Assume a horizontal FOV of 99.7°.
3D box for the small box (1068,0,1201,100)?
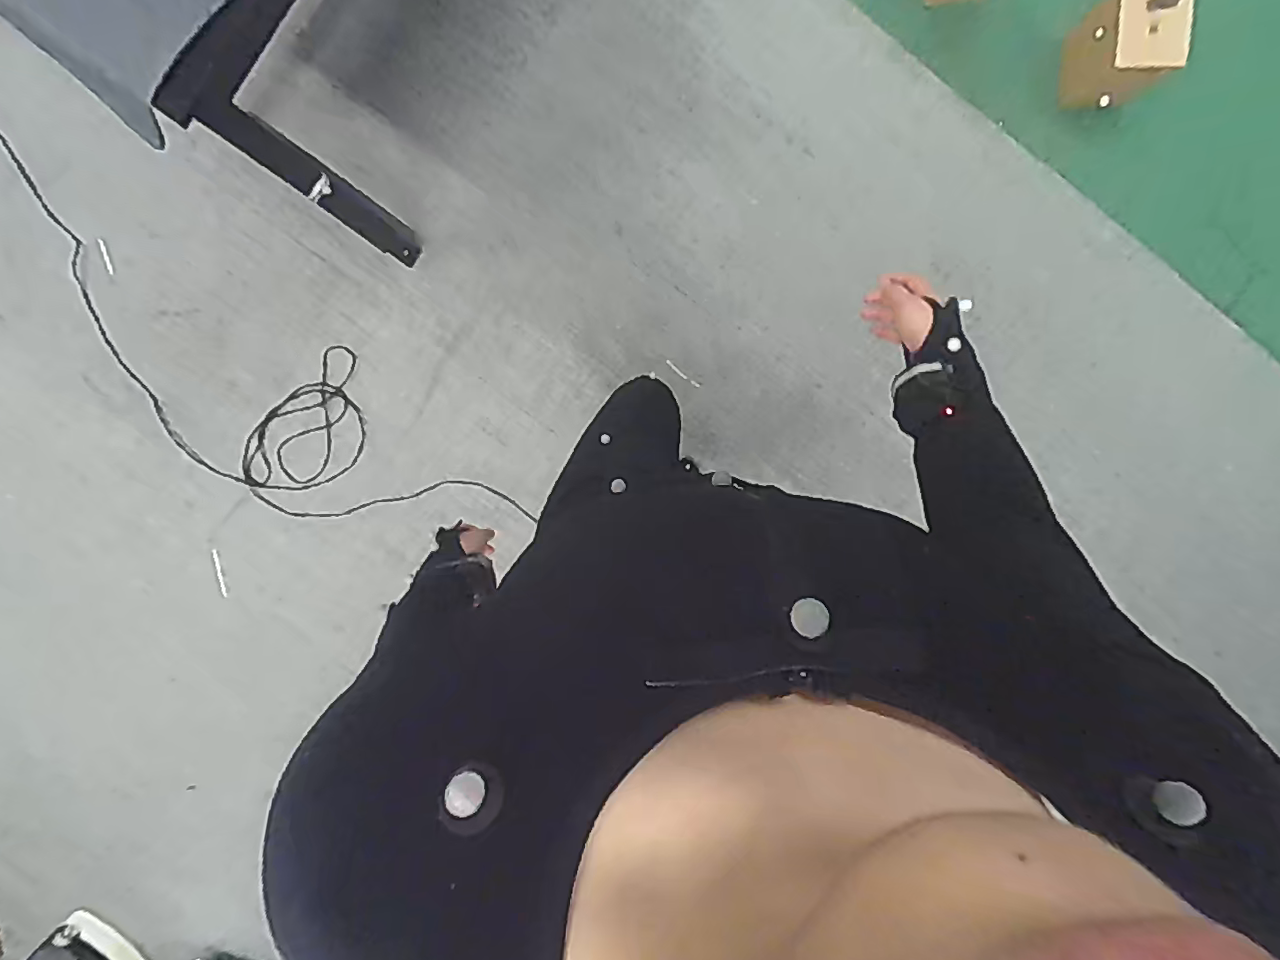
[{"bbox_3d":[1.160,-1.040,1.279,0.168,0.176,0.179,-1,97,0],"label":"small box"}]
